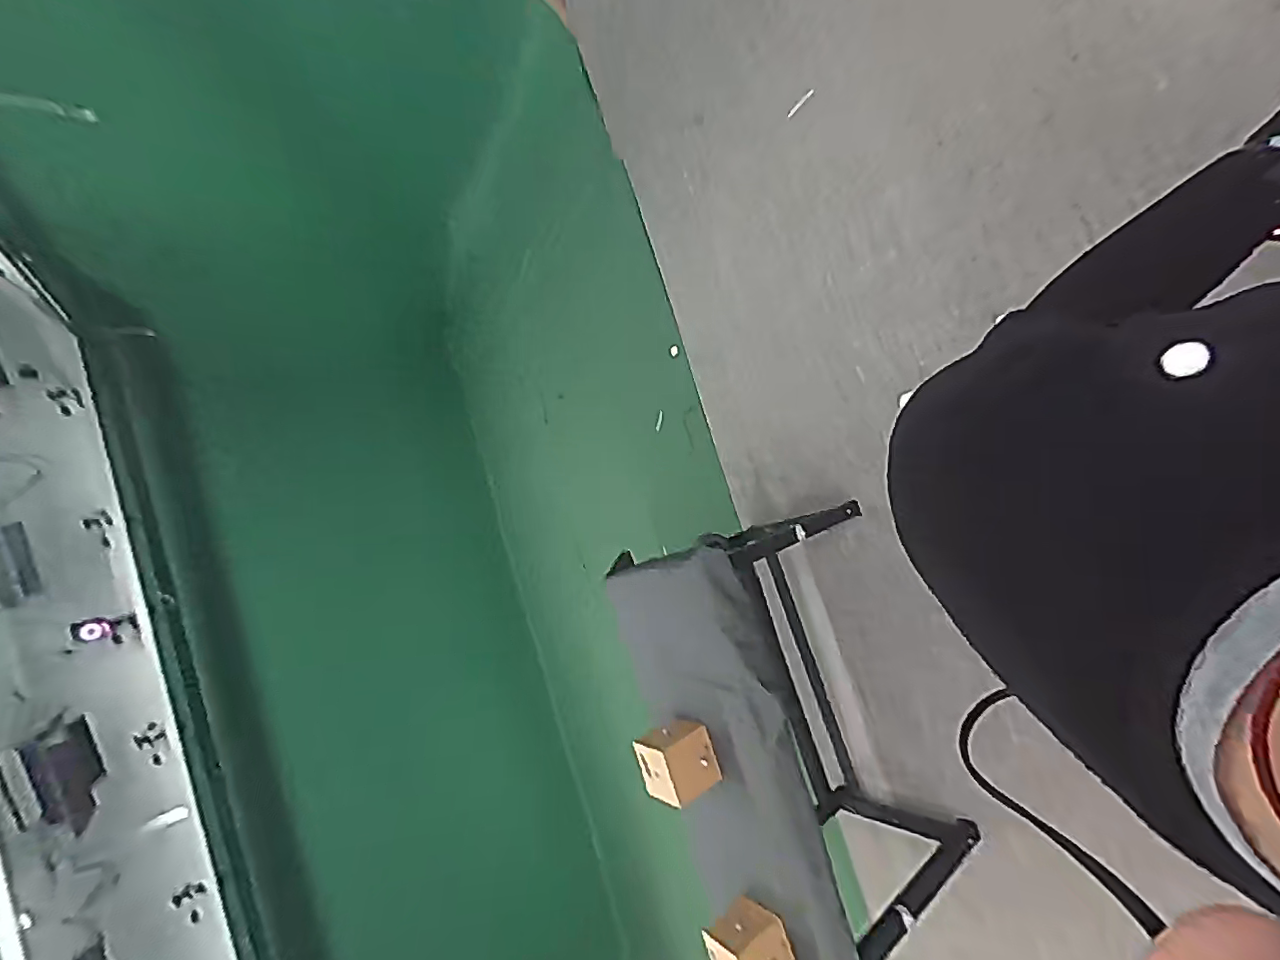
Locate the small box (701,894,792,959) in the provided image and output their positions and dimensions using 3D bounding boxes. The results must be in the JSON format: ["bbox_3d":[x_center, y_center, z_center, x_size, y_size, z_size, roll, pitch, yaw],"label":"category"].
[{"bbox_3d":[0.314,1.346,1.556,0.179,0.176,0.168,-29,79,55],"label":"small box"}]

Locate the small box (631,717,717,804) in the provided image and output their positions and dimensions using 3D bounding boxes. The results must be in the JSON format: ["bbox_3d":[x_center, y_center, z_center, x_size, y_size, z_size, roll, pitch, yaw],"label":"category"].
[{"bbox_3d":[0.104,0.843,1.647,0.179,0.176,0.168,-25,83,55],"label":"small box"}]
